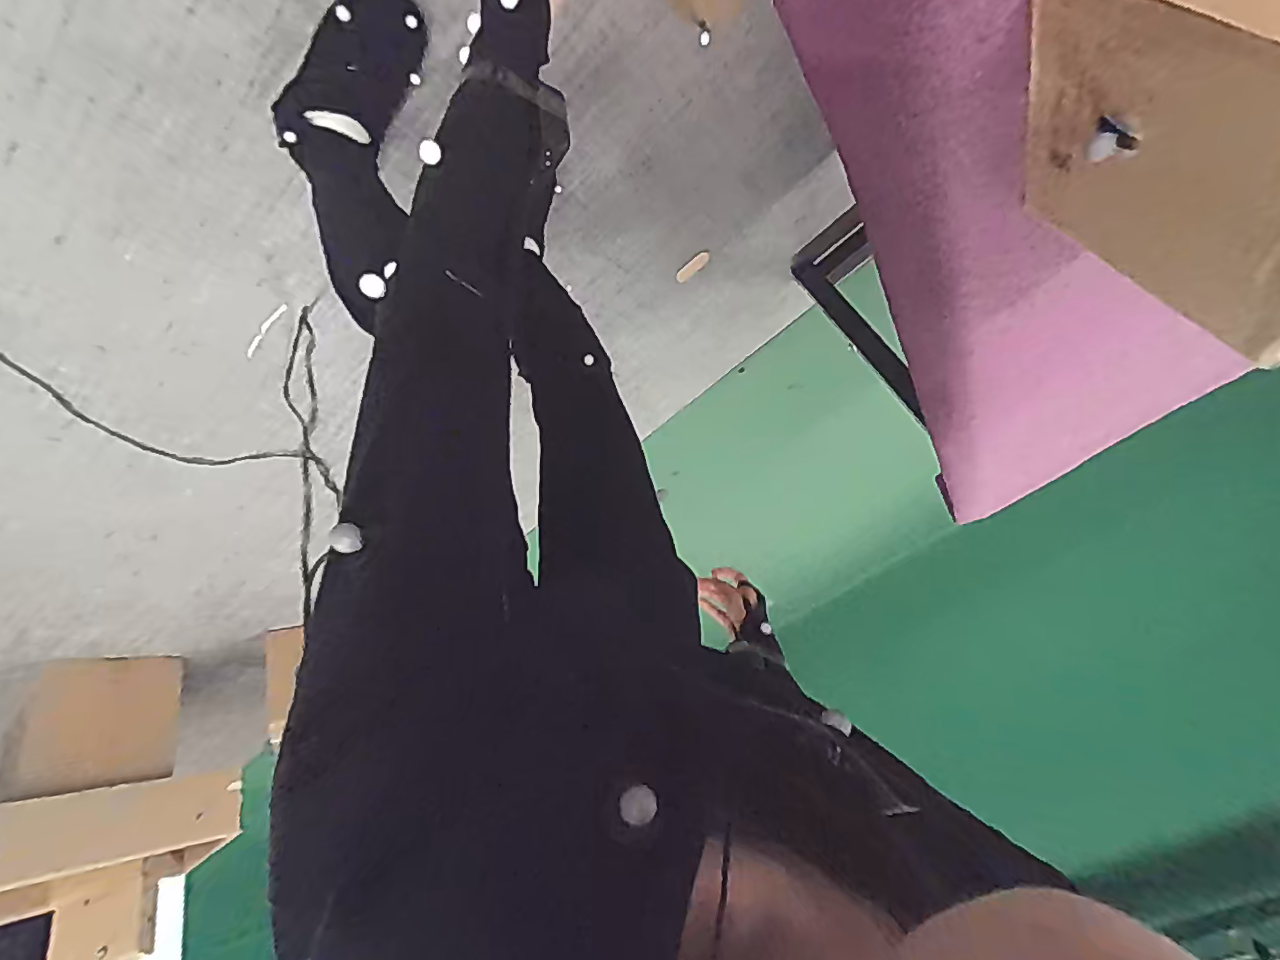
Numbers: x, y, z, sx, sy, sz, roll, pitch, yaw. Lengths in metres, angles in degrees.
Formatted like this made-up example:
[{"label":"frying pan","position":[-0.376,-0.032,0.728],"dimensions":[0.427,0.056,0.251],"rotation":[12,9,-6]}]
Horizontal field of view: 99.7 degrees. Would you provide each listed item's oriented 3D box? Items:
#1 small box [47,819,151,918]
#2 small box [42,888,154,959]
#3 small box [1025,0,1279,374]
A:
[{"label":"small box","position":[-1.427,1.031,1.436],"dimensions":[0.168,0.176,0.179],"rotation":[1,140,-35]},{"label":"small box","position":[-1.360,1.163,1.364],"dimensions":[0.168,0.176,0.179],"rotation":[-4,143,-30]},{"label":"small box","position":[0.305,-0.185,0.221],"dimensions":[0.179,0.176,0.168],"rotation":[-38,147,19]}]
